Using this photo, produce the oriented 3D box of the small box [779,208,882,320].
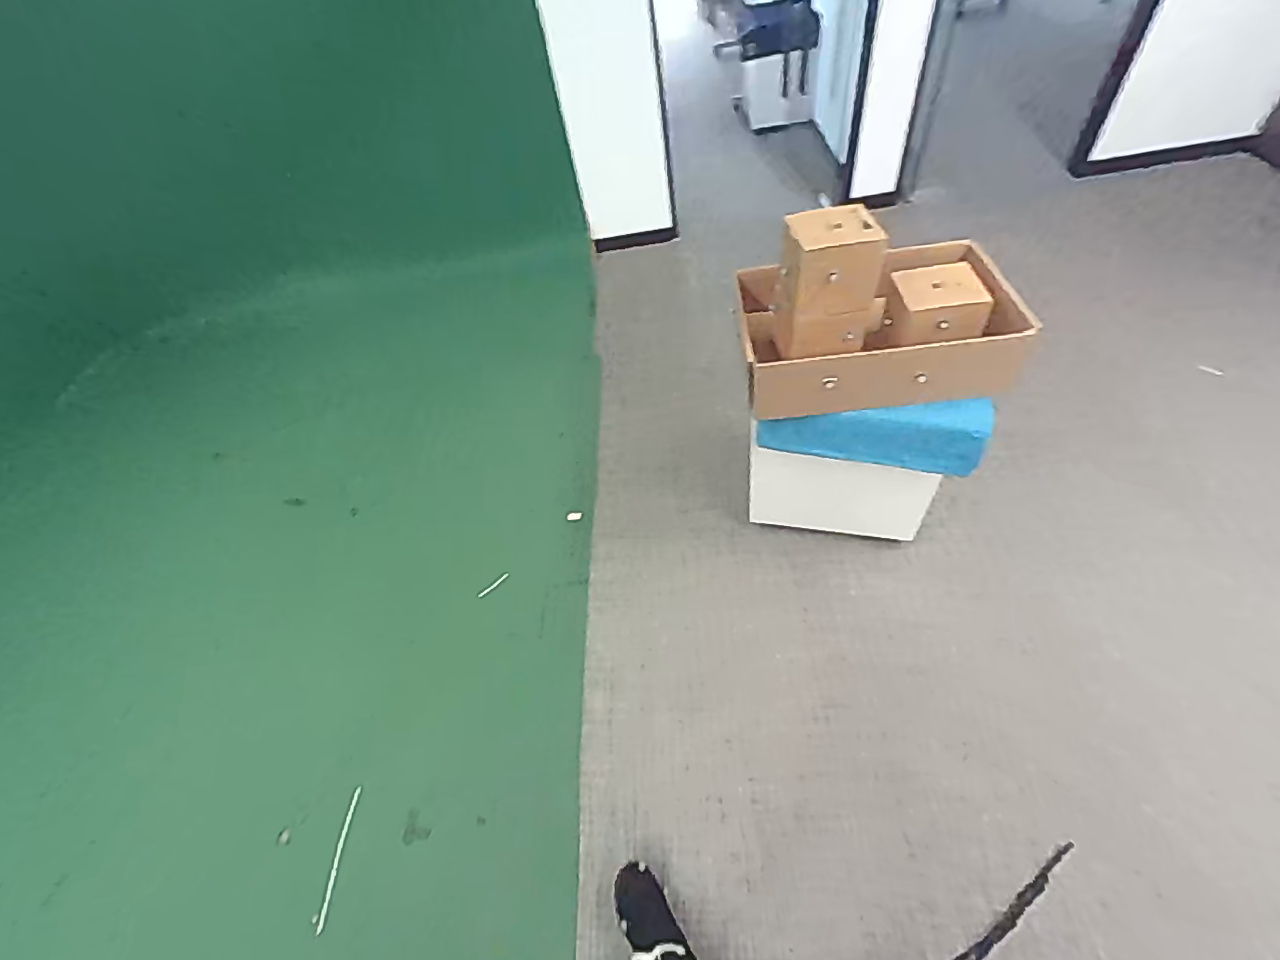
[{"bbox_3d":[0.417,-0.481,1.221,0.179,0.176,0.168,-9,50,3],"label":"small box"}]
